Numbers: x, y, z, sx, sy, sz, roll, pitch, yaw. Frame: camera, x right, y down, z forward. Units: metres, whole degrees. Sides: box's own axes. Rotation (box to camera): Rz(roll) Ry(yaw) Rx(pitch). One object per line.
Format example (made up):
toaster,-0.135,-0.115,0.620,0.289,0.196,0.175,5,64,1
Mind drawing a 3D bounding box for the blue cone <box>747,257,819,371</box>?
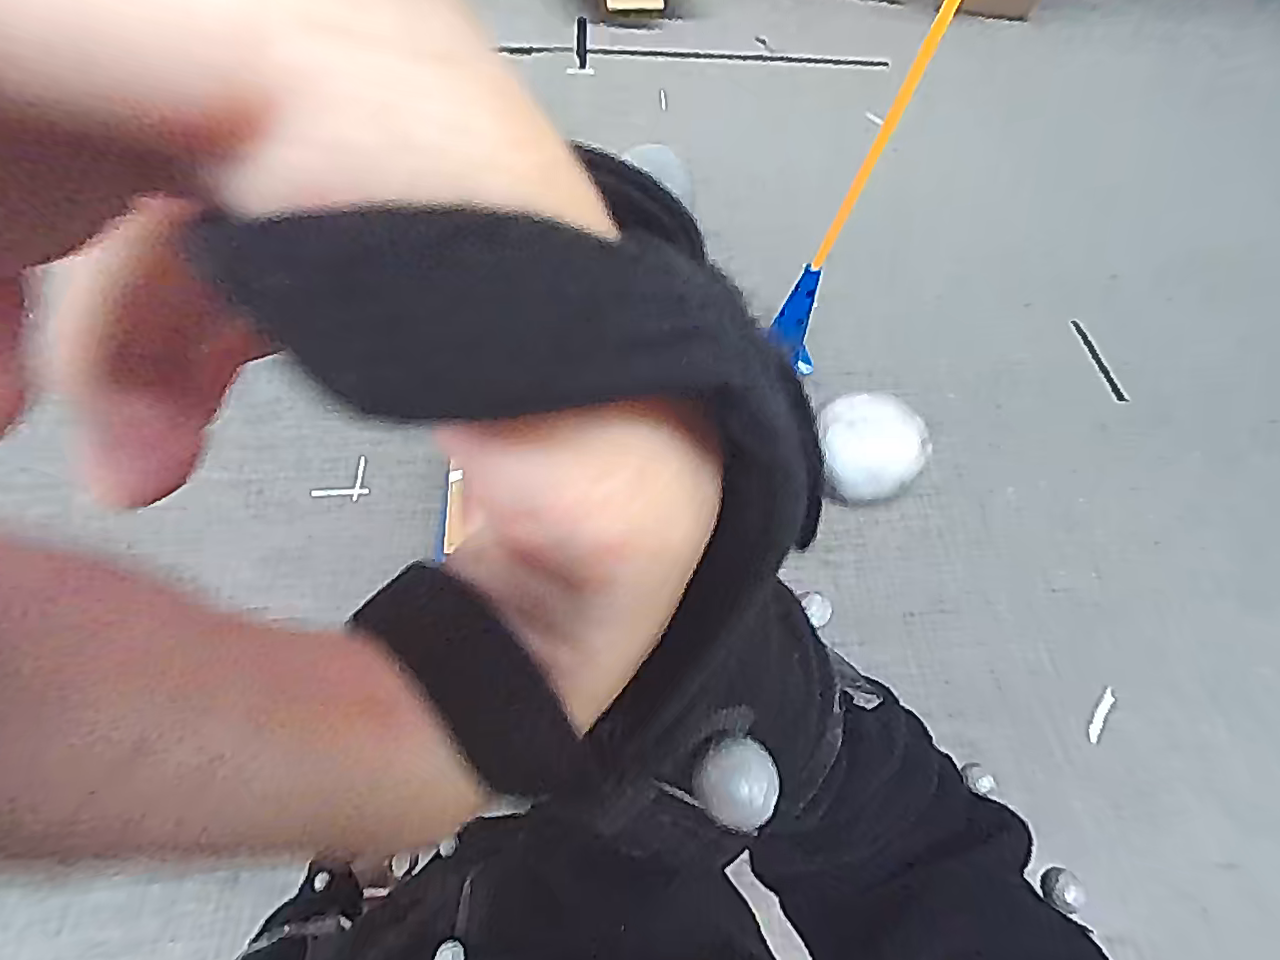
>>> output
blue cone,0.481,-0.522,1.687,0.193,0.380,0.192,-5,62,-7
